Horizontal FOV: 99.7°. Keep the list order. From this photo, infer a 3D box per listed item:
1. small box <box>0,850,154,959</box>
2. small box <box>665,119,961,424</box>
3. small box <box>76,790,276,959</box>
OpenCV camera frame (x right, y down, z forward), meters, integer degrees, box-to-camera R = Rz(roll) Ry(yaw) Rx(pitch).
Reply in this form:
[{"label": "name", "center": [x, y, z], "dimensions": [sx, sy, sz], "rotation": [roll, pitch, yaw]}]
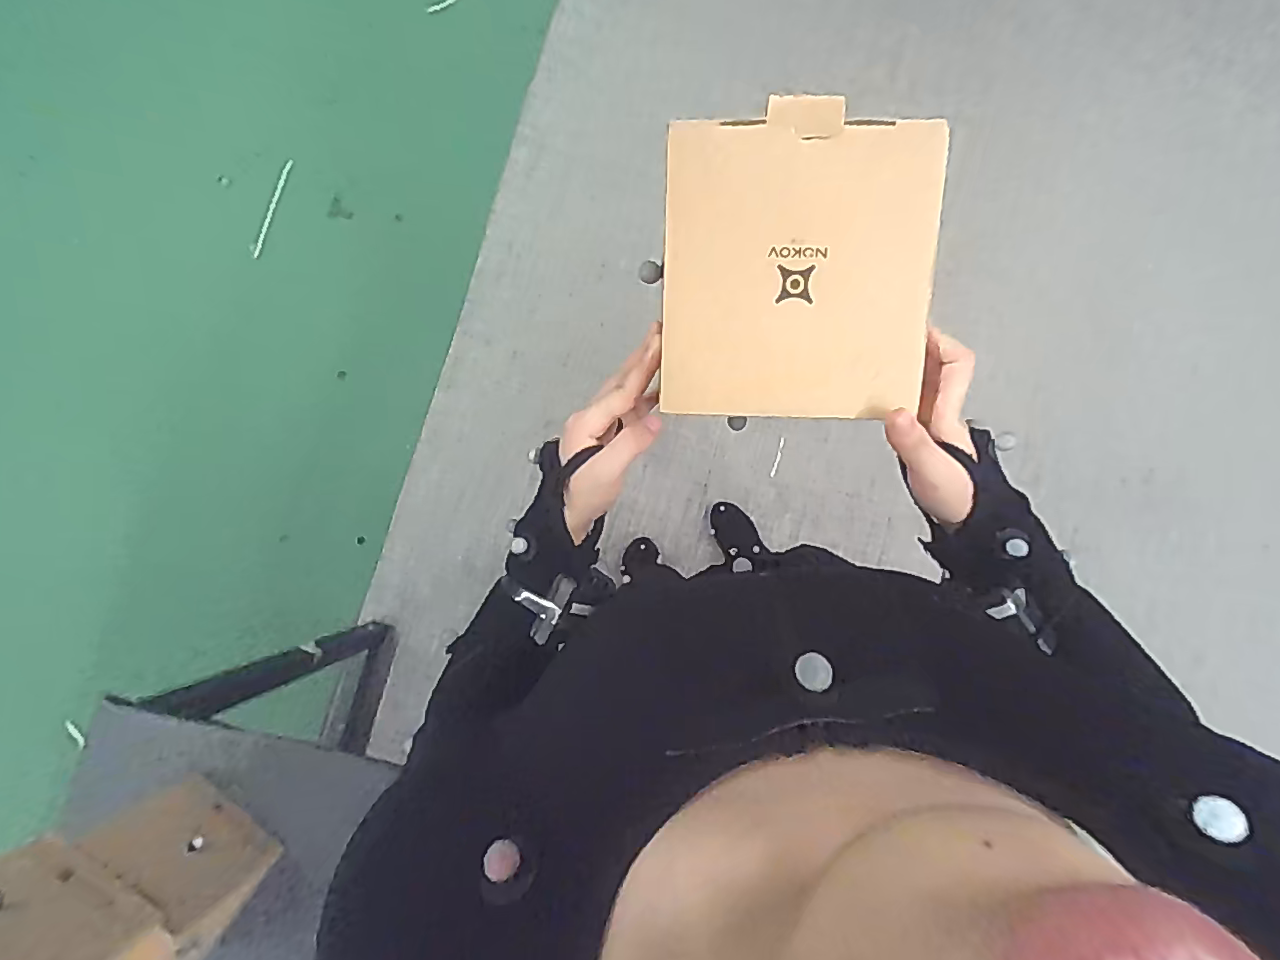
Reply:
[{"label": "small box", "center": [-0.624, 0.506, 0.507], "dimensions": [0.168, 0.176, 0.179], "rotation": [31, 90, 6]}, {"label": "small box", "center": [0.106, -0.138, 0.408], "dimensions": [0.168, 0.176, 0.179], "rotation": [2, 99, 3]}, {"label": "small box", "center": [-0.600, 0.533, 0.666], "dimensions": [0.168, 0.176, 0.179], "rotation": [36, 90, 5]}]
